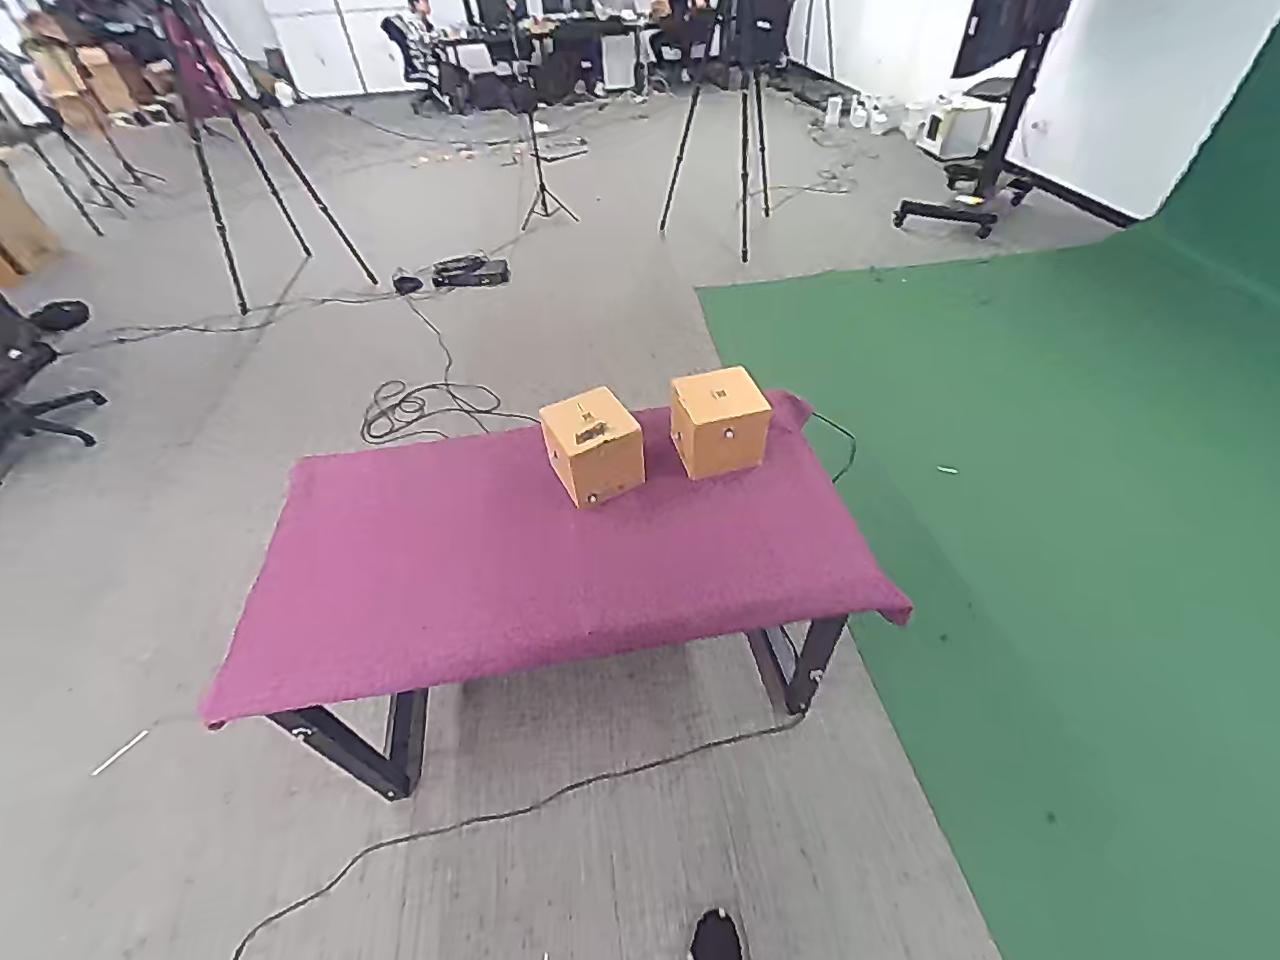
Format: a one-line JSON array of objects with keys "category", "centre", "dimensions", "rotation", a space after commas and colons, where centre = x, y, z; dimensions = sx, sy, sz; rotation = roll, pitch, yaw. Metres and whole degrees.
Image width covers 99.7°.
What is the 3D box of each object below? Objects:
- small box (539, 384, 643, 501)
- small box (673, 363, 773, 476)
[{"category": "small box", "centre": [-0.102, -0.075, 1.189], "dimensions": [0.168, 0.176, 0.179], "rotation": [-23, 49, -17]}, {"category": "small box", "centre": [0.180, -0.135, 1.224], "dimensions": [0.179, 0.176, 0.168], "rotation": [-14, 47, -7]}]
